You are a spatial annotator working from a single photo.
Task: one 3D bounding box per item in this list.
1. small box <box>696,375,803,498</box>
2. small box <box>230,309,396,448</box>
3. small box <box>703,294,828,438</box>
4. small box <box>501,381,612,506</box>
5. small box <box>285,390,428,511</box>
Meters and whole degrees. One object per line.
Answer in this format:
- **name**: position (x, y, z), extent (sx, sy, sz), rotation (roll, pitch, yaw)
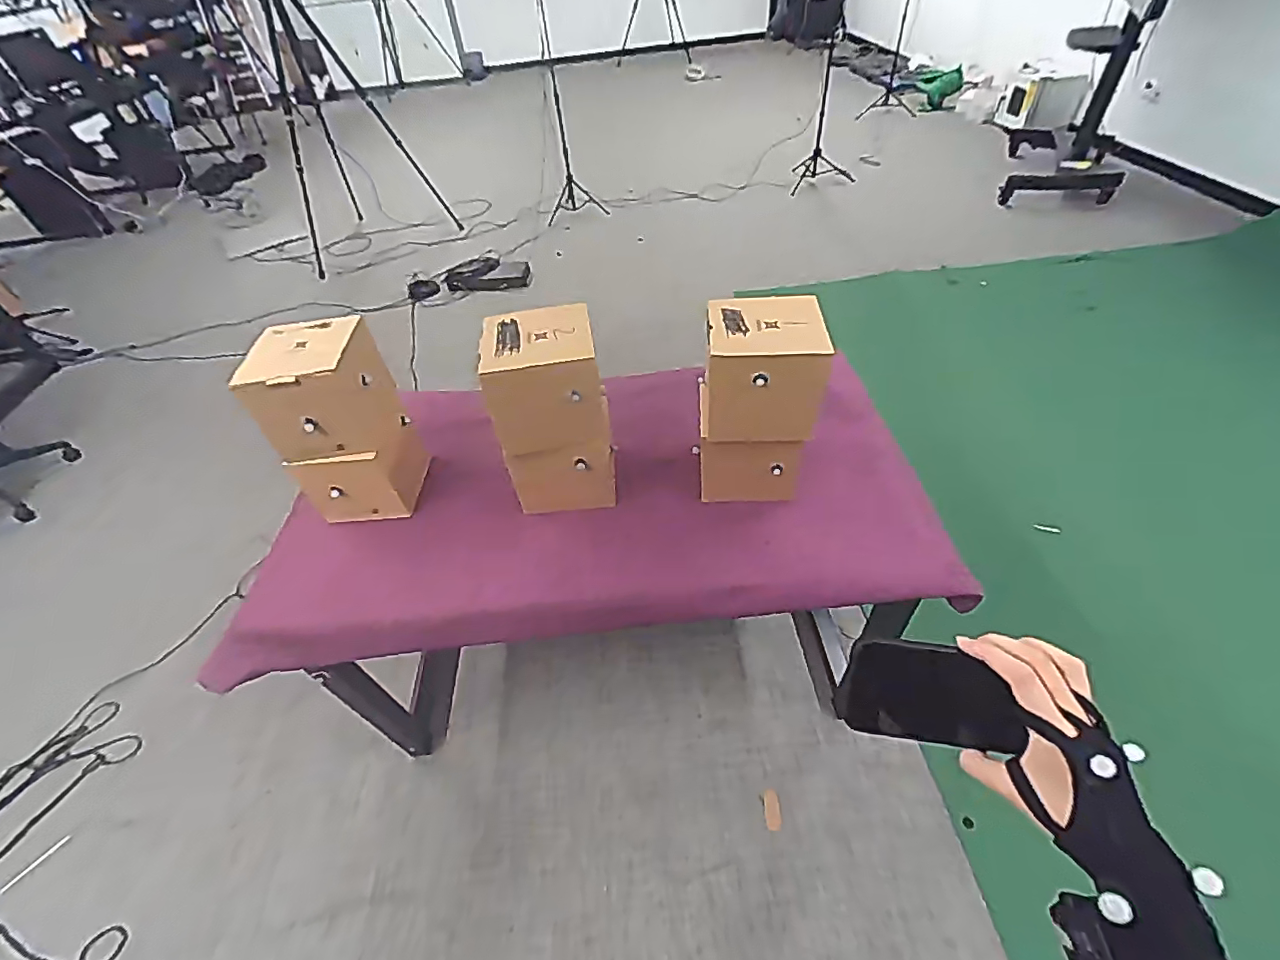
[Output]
- **small box**: position (0.194, -0.080, 1.002), extent (0.179, 0.176, 0.168), rotation (0, 47, 7)
- **small box**: position (-0.548, -0.169, 0.939), extent (0.168, 0.176, 0.179), rotation (-7, 48, -2)
- **small box**: position (0.190, -0.180, 0.872), extent (0.179, 0.176, 0.168), rotation (0, 47, 6)
- **small box**: position (-0.146, -0.066, 1.023), extent (0.179, 0.176, 0.168), rotation (-4, 47, 2)
- **small box**: position (-0.535, -0.051, 1.053), extent (0.168, 0.176, 0.179), rotation (-4, 47, 3)
